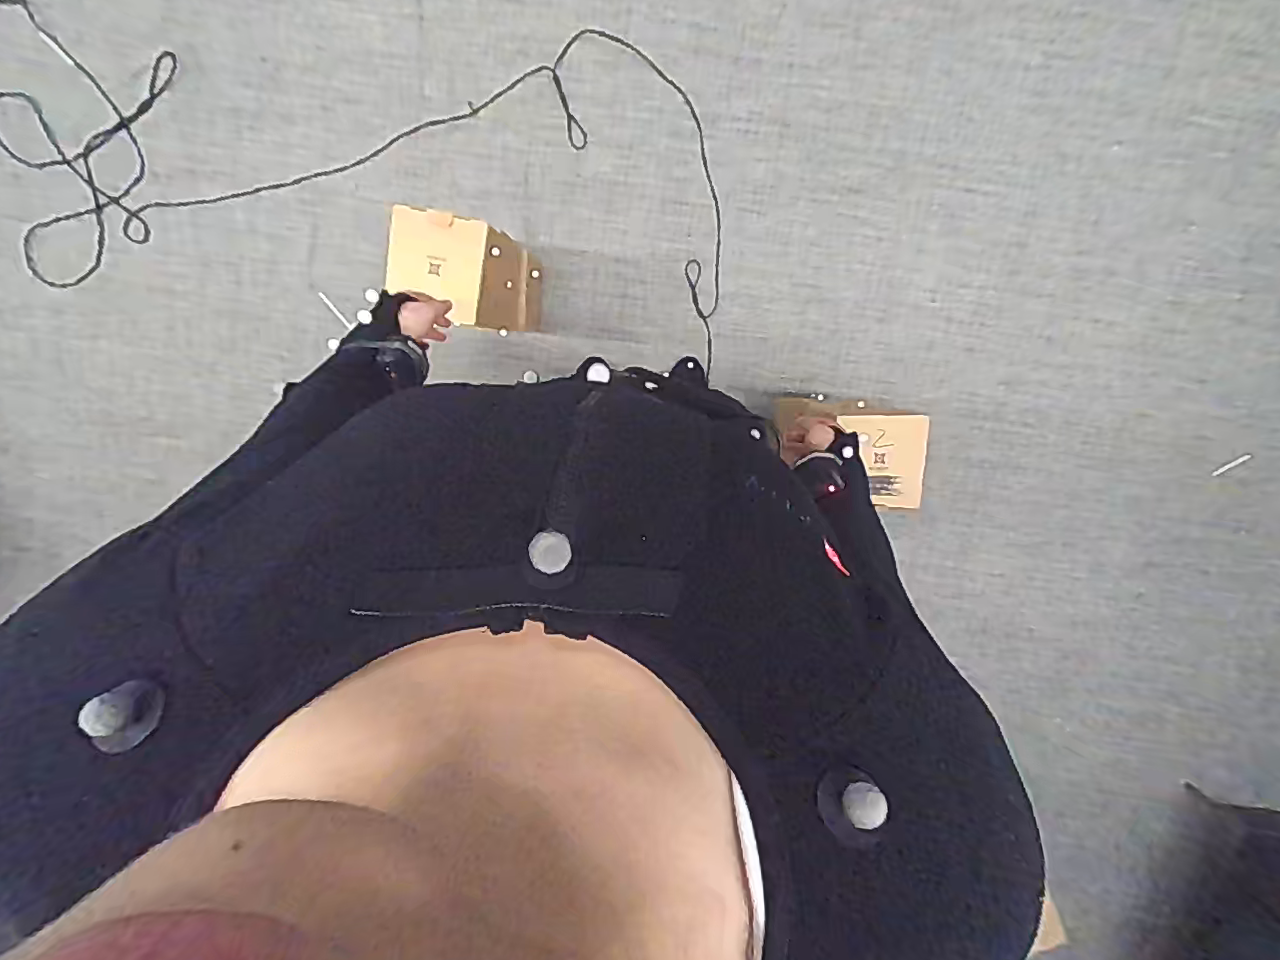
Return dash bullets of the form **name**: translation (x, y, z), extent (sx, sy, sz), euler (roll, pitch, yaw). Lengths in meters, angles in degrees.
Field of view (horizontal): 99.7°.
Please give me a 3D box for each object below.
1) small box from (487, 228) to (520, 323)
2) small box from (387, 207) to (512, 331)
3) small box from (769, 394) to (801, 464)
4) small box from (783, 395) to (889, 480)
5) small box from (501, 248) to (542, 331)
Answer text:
- **small box**: translation (-0.361, -0.439, 1.169), extent (0.168, 0.176, 0.179), euler (6, 101, 0)
- **small box**: translation (-0.349, -0.383, 1.015), extent (0.168, 0.176, 0.179), euler (10, 102, 0)
- **small box**: translation (0.439, -0.128, 1.388), extent (0.179, 0.176, 0.168), euler (6, 103, 0)
- **small box**: translation (0.434, -0.101, 1.227), extent (0.179, 0.176, 0.168), euler (2, 104, 0)
- **small box**: translation (-0.340, -0.468, 1.330), extent (0.168, 0.176, 0.179), euler (5, 102, 1)
